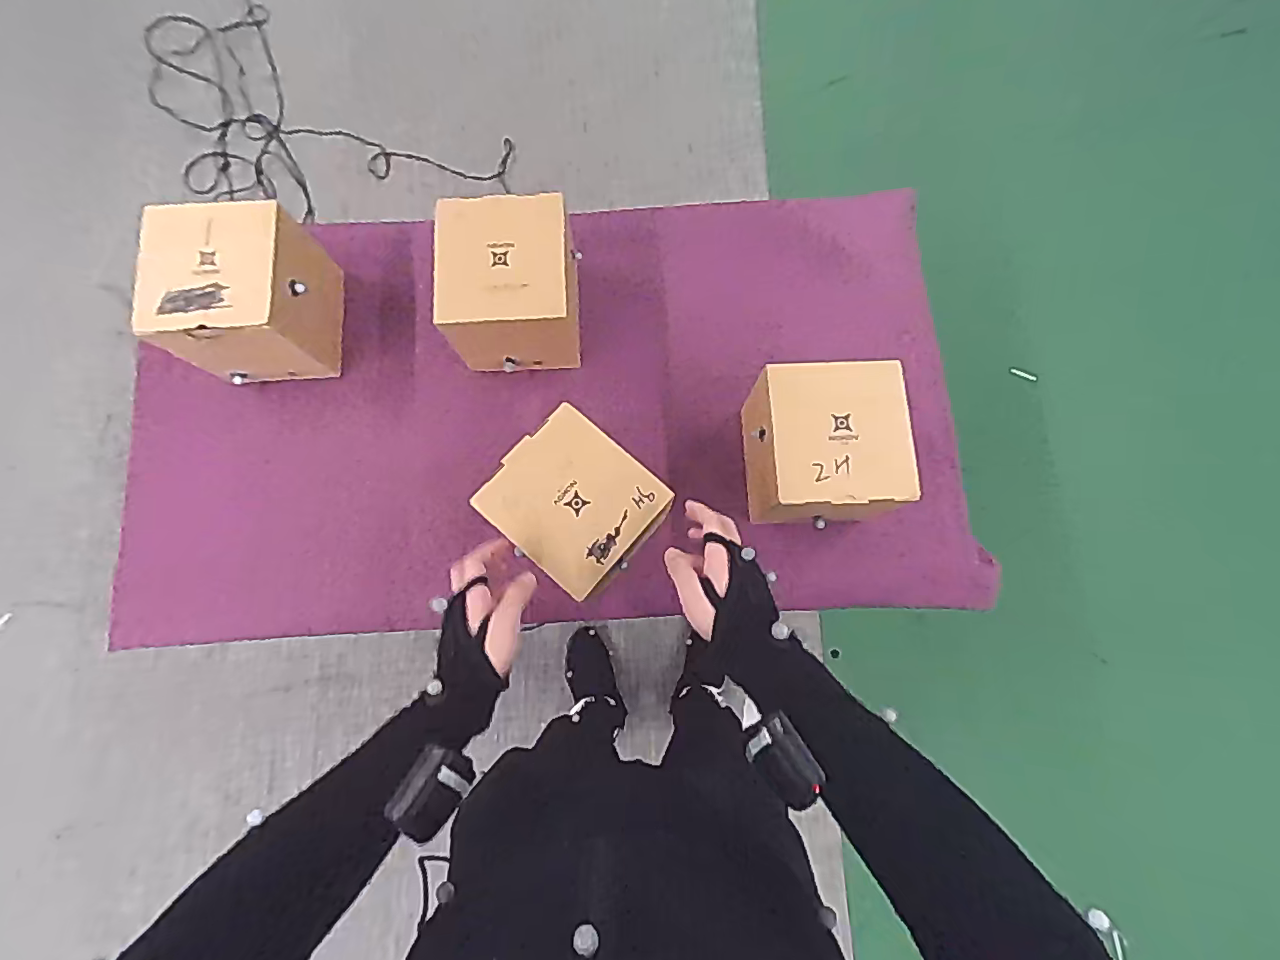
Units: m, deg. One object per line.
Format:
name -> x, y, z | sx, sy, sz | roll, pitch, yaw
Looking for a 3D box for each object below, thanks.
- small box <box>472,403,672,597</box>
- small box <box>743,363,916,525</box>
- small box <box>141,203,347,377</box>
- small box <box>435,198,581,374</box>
small box -> -0.079, 0.038, 0.701 | 0.179, 0.176, 0.168 | 41, 80, 9
small box -> 0.235, -0.039, 0.717 | 0.168, 0.176, 0.179 | -1, 78, 0
small box -> -0.533, -0.251, 0.753 | 0.168, 0.176, 0.179 | -3, 79, -2
small box -> -0.174, -0.264, 0.762 | 0.168, 0.176, 0.179 | -2, 80, 0
